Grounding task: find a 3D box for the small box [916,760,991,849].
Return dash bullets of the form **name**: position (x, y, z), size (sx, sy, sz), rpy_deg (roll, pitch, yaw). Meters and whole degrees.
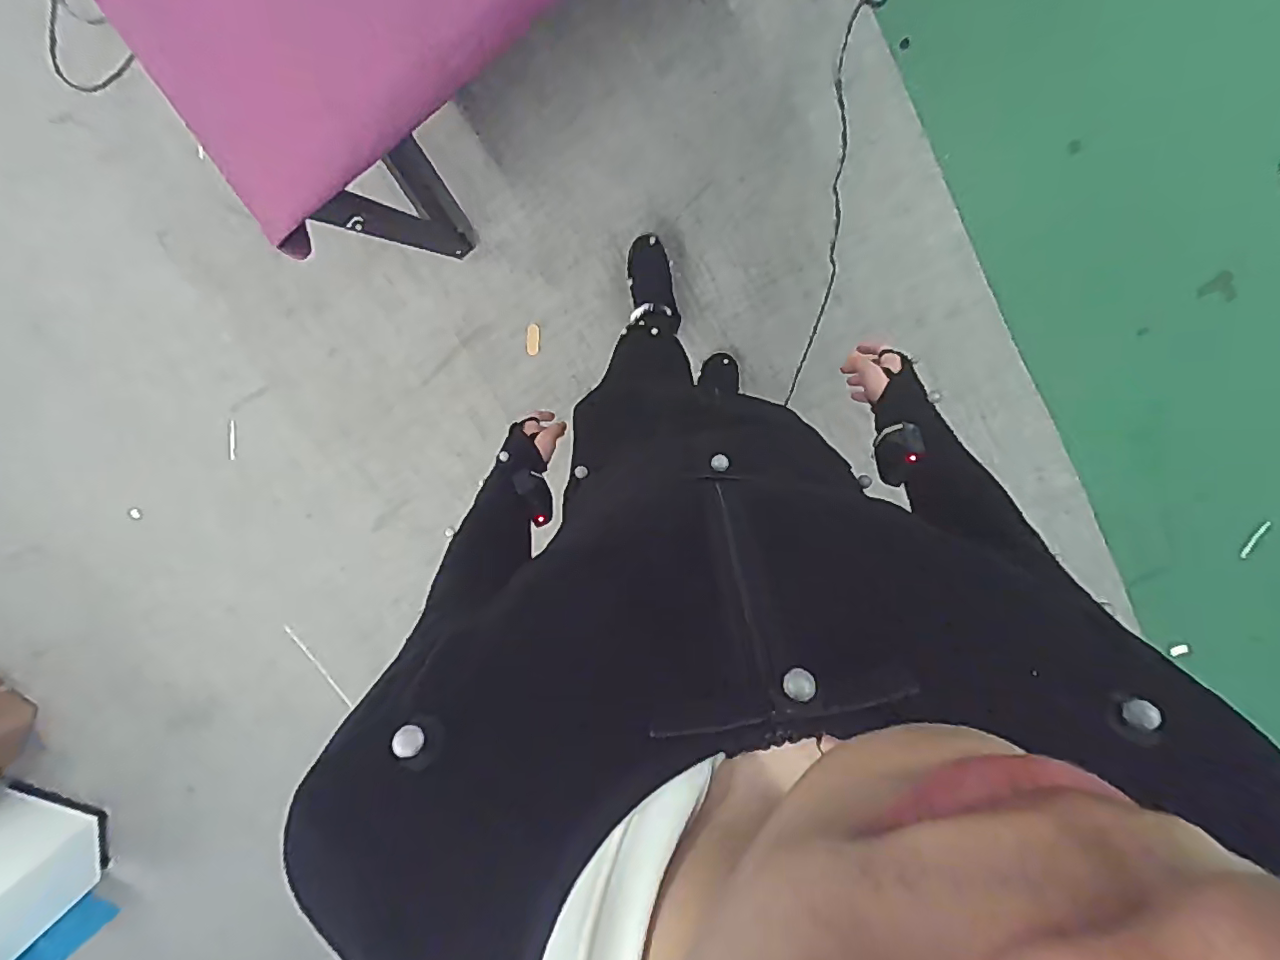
- **small box**: position (1.009, 1.037, 1.731), size (0.179, 0.176, 0.168), rpy_deg (-20, 102, 12)
